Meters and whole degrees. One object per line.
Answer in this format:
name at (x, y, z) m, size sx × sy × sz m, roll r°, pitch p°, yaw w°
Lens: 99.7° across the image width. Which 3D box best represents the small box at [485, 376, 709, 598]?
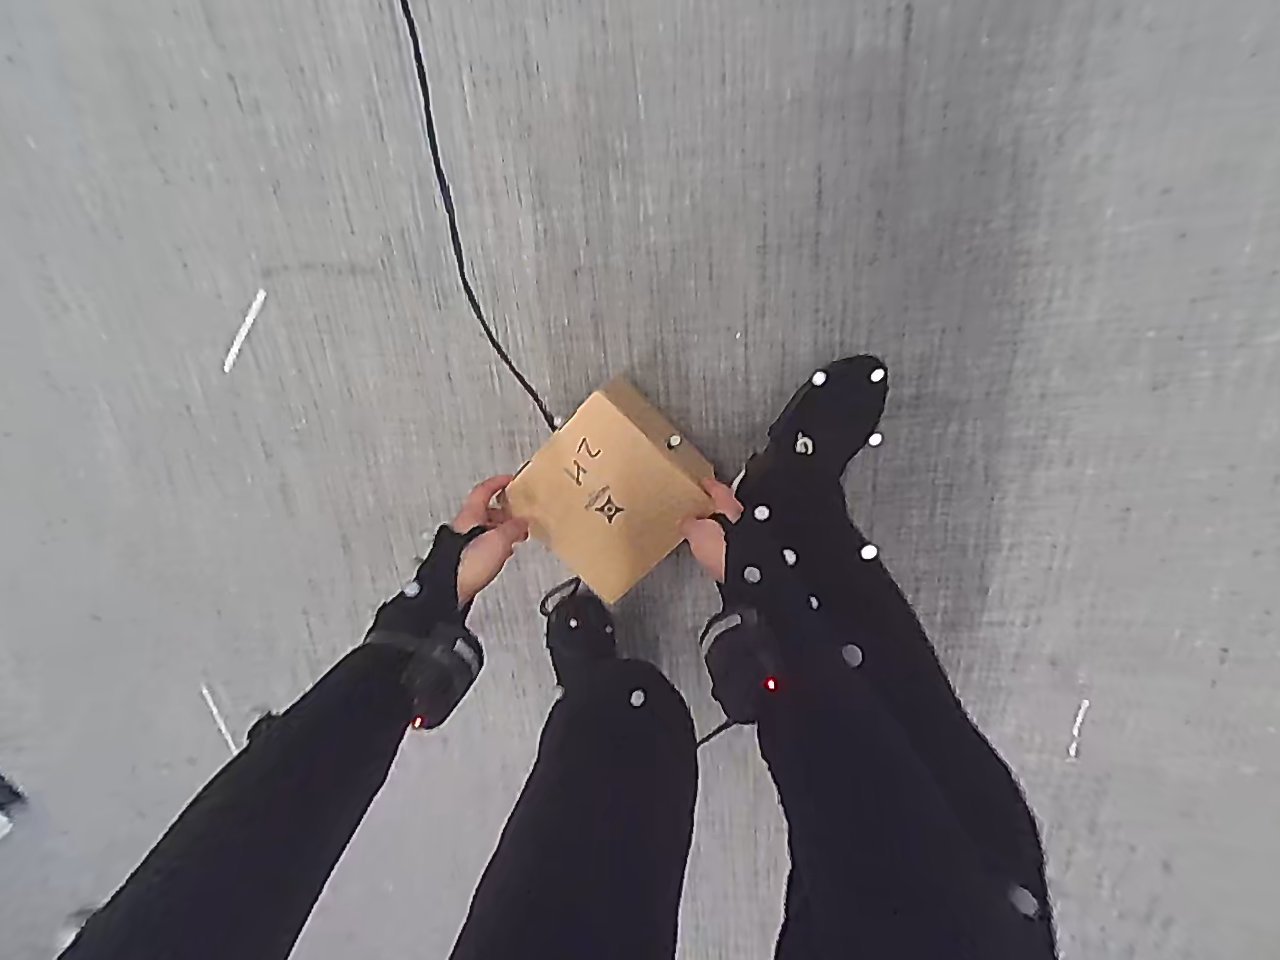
small box at (-0.039, -0.005, 0.629) m, size 0.179 × 0.176 × 0.168 m, roll 43°, pitch 104°, yaw -7°
